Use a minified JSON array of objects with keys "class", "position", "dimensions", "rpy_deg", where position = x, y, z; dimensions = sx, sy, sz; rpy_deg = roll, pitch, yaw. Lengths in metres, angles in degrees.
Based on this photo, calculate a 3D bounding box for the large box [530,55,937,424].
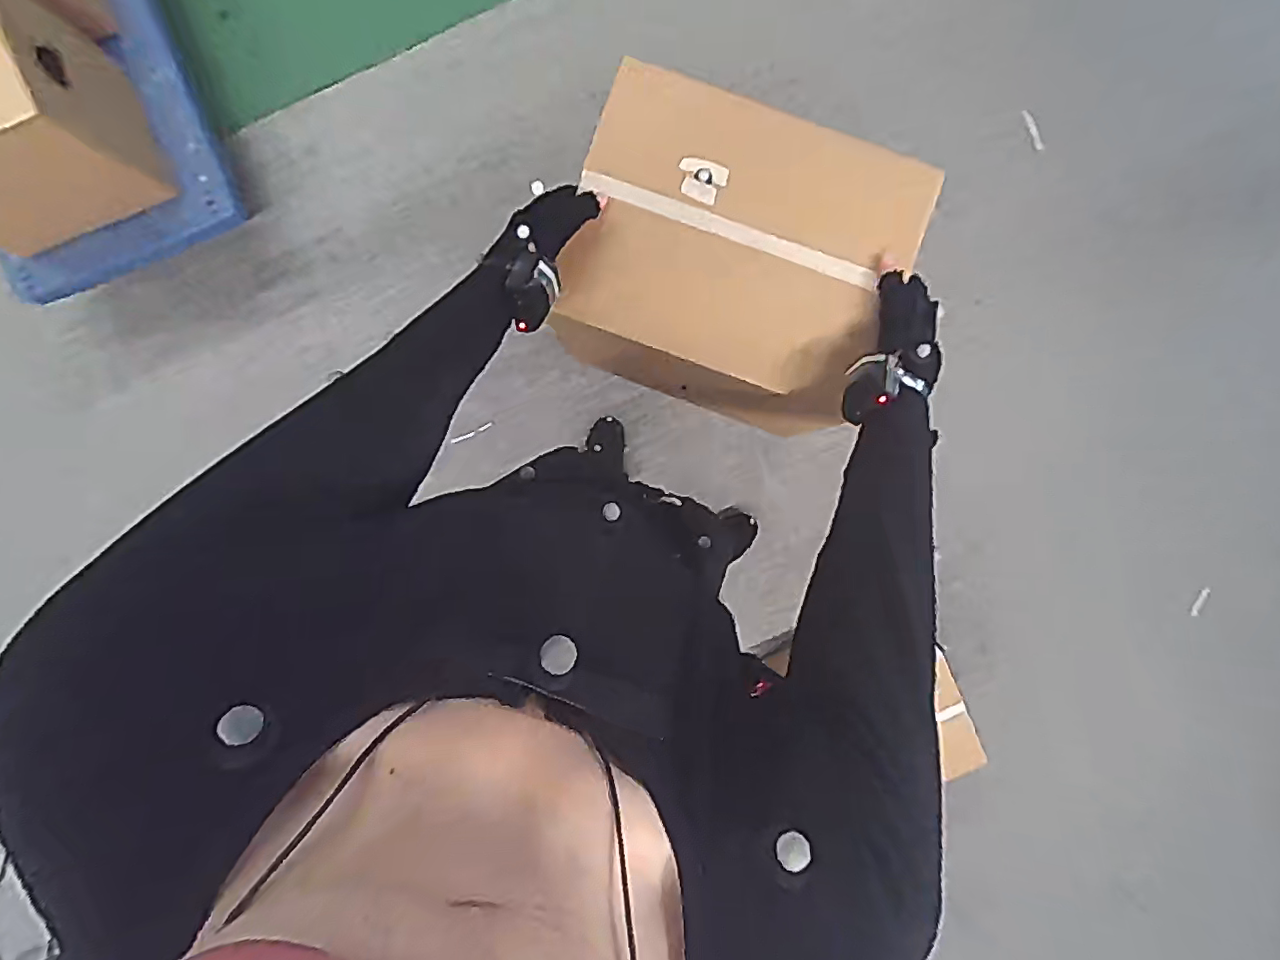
[{"class":"large box","position":[0.111,-0.290,0.772],"dimensions":[0.408,0.320,0.320],"rpy_deg":[19,91,1]}]
